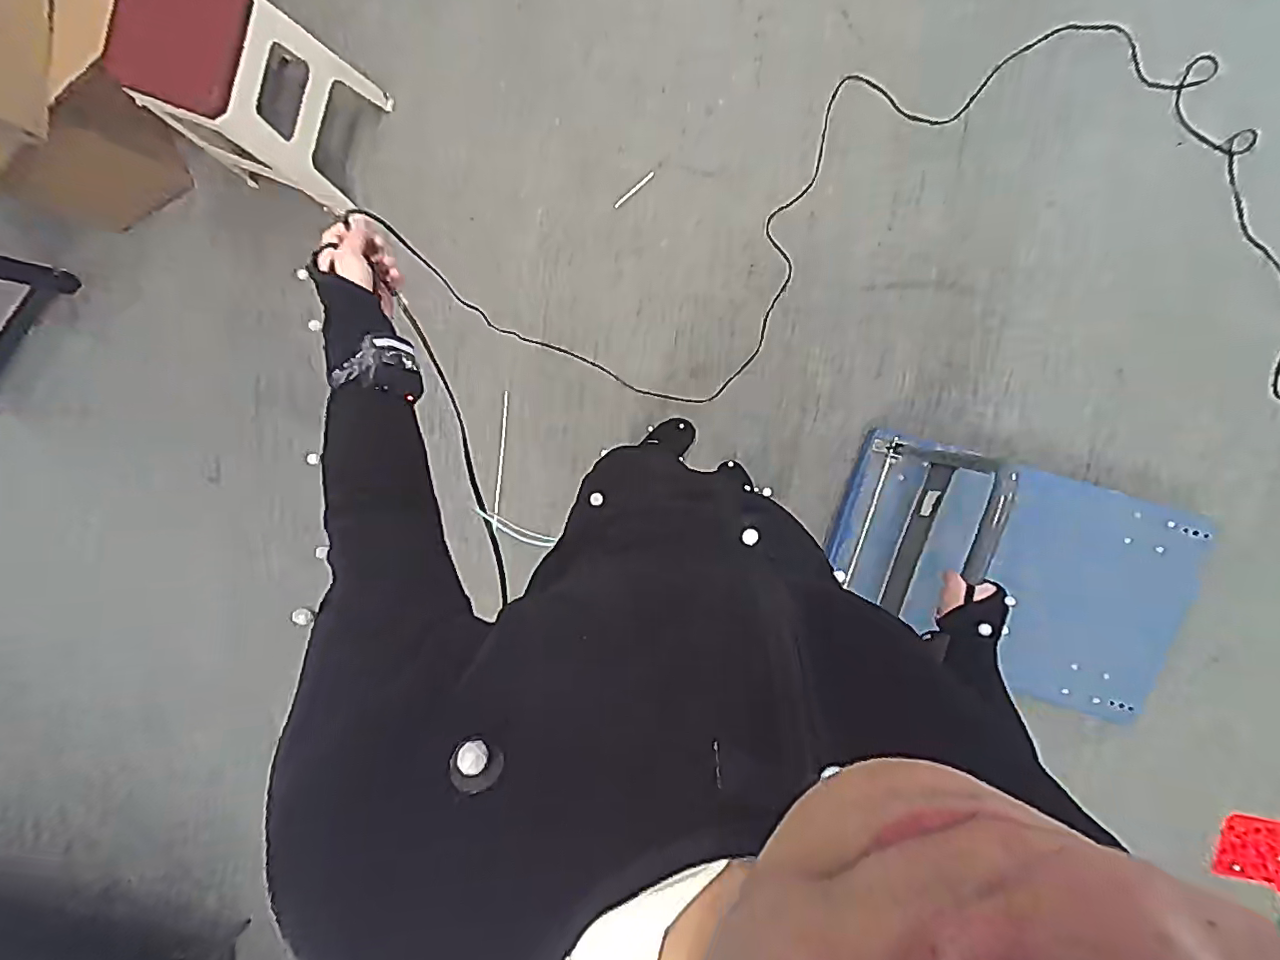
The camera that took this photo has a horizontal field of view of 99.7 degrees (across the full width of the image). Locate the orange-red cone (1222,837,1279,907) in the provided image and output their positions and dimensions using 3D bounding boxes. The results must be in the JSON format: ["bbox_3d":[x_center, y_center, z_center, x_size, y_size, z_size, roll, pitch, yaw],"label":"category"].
[{"bbox_3d":[1.770,1.134,1.366,0.199,0.360,0.198,10,97,3],"label":"orange-red cone"}]
